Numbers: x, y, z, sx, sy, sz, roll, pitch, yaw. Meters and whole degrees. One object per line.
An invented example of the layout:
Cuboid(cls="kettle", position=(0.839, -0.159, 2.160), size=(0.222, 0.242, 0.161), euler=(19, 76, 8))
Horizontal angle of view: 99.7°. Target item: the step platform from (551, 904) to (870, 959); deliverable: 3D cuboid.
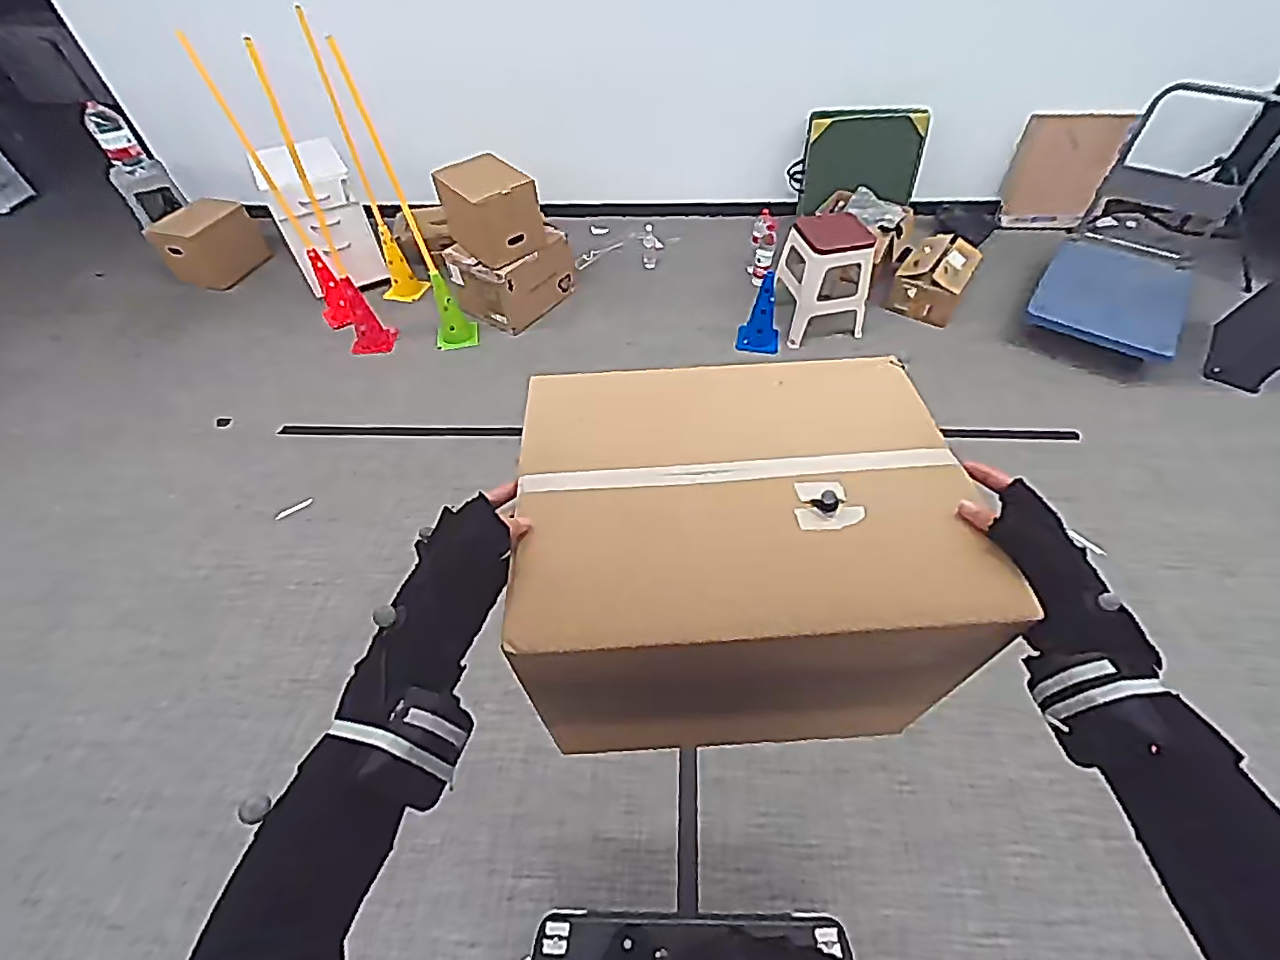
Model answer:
Cuboid(cls="step platform", position=(0.145, 1.077, 1.141), size=(0.684, 0.204, 0.286), euler=(0, 51, 1))

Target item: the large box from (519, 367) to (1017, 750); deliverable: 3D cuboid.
Cuboid(cls="large box", position=(0.093, 0.096, 0.627), size=(0.408, 0.320, 0.320), euler=(-3, 51, -1))
